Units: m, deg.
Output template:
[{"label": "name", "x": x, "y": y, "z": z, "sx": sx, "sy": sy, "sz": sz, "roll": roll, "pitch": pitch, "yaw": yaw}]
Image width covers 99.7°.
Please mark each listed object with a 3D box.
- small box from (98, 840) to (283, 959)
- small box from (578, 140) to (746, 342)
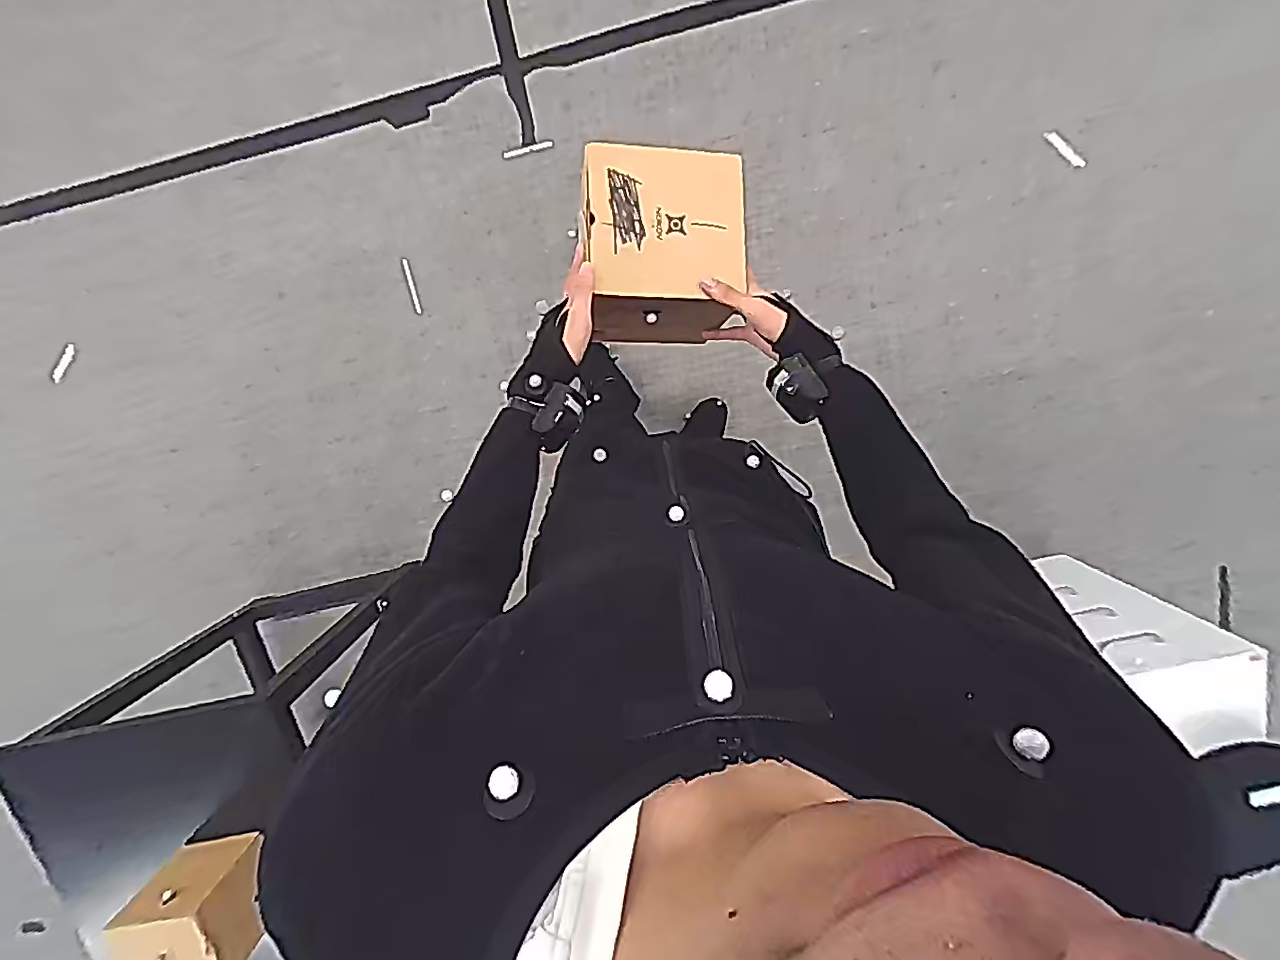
[{"label": "small box", "x": -0.820, "y": 0.816, "z": 1.007, "sx": 0.179, "sy": 0.176, "sz": 0.168, "roll": -13, "pitch": 102, "yaw": 3}, {"label": "small box", "x": 0.015, "y": -0.271, "z": 0.651, "sx": 0.179, "sy": 0.176, "sz": 0.168, "roll": -1, "pitch": 88, "yaw": -10}]
